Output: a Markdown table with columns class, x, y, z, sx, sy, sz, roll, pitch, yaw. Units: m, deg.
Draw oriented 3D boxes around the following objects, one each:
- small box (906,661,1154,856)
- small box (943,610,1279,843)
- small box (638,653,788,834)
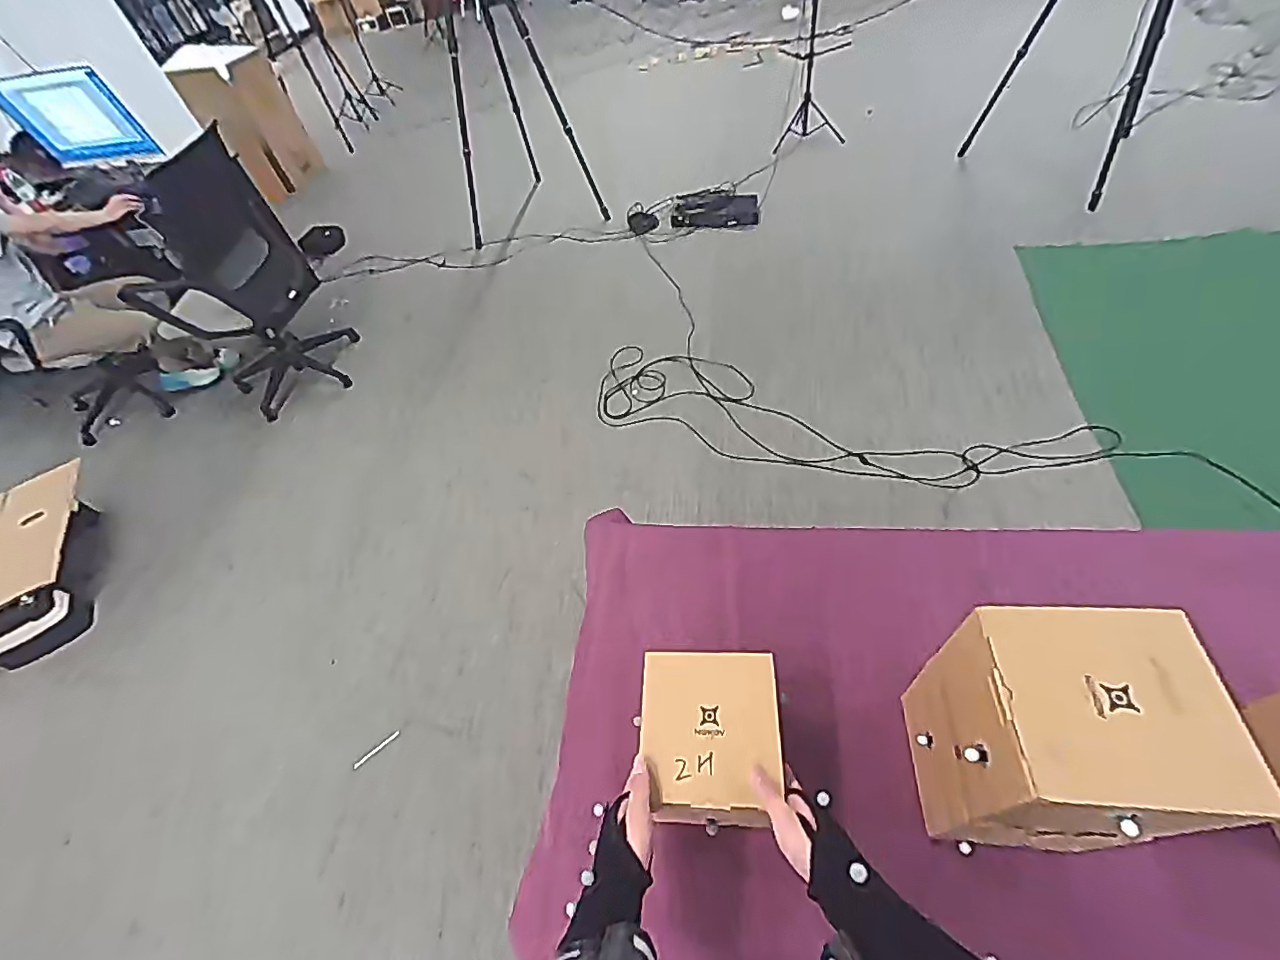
| class | x | y | z | sx | sy | sz | roll | pitch | yaw |
| --- | --- | --- | --- | --- | --- | --- | --- | --- | --- |
| small box | 0.437 | 0.334 | 0.646 | 0.168 | 0.176 | 0.179 | 0 | 52 | 9 |
| small box | 0.414 | 0.238 | 0.517 | 0.179 | 0.176 | 0.168 | 0 | 53 | 9 |
| small box | 0.095 | 0.341 | 0.700 | 0.168 | 0.176 | 0.179 | -2 | 52 | 9 |
